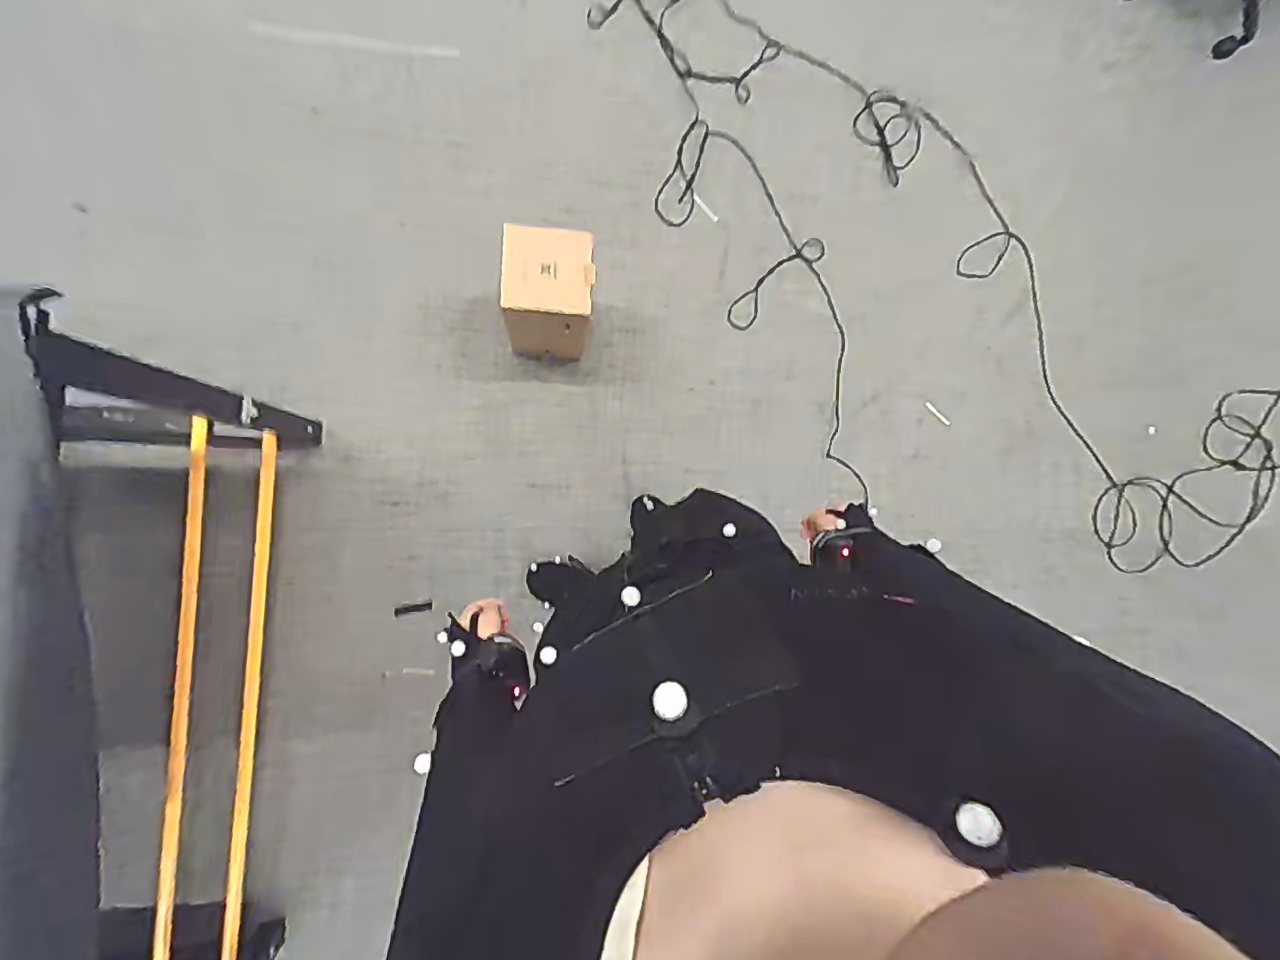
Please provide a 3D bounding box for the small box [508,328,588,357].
[{"bbox_3d":[-0.213,-0.399,1.275,0.179,0.176,0.168,5,86,-11],"label":"small box"}]

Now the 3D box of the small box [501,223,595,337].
[{"bbox_3d":[-0.188,-0.402,1.115,0.179,0.176,0.168,2,86,-8],"label":"small box"}]
